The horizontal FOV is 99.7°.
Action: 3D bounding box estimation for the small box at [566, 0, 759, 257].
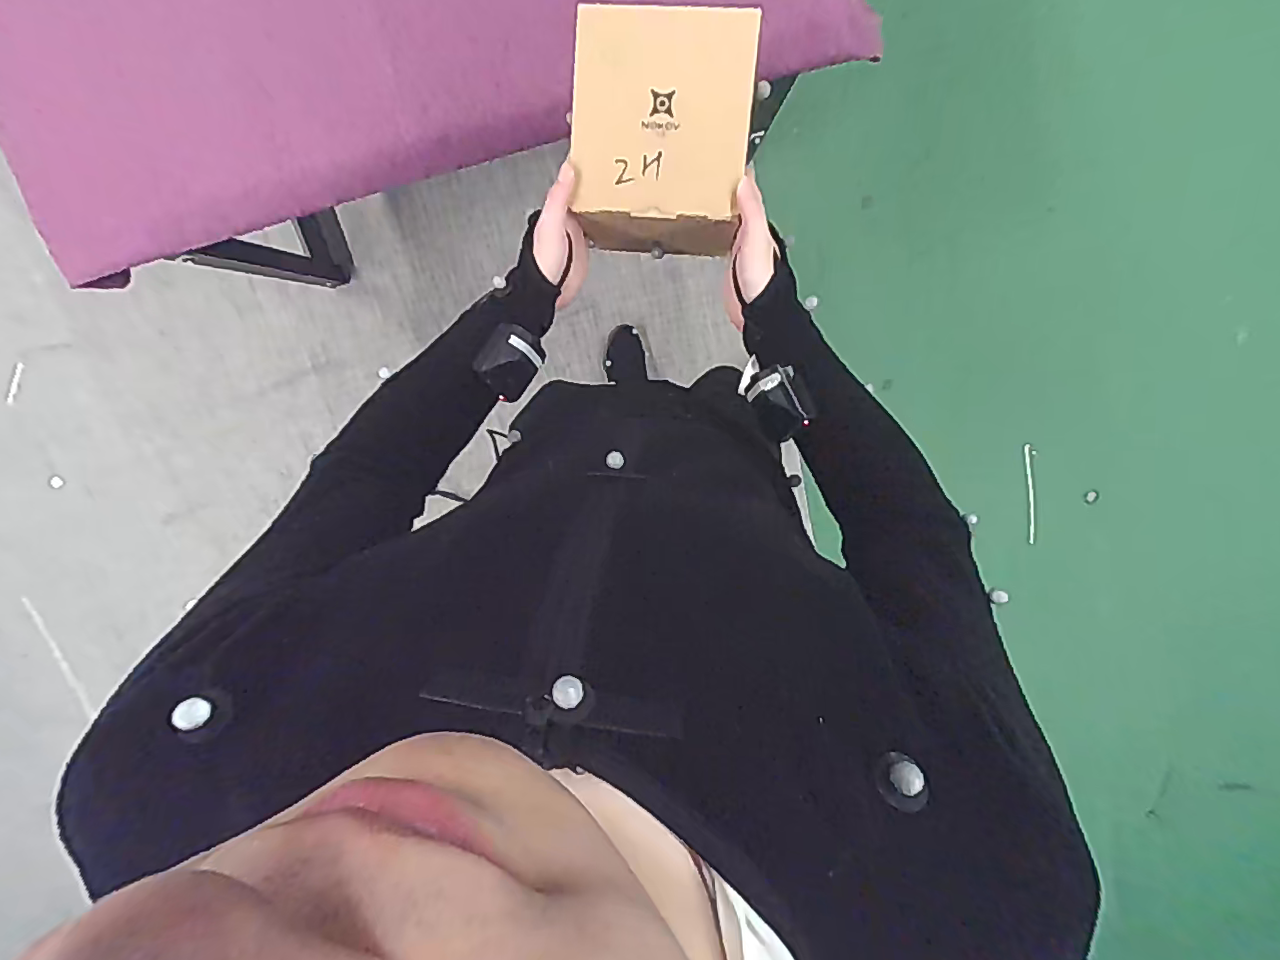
[{"bbox_3d":[0.024,-0.353,0.575,0.168,0.176,0.179,6,101,4],"label":"small box"}]
